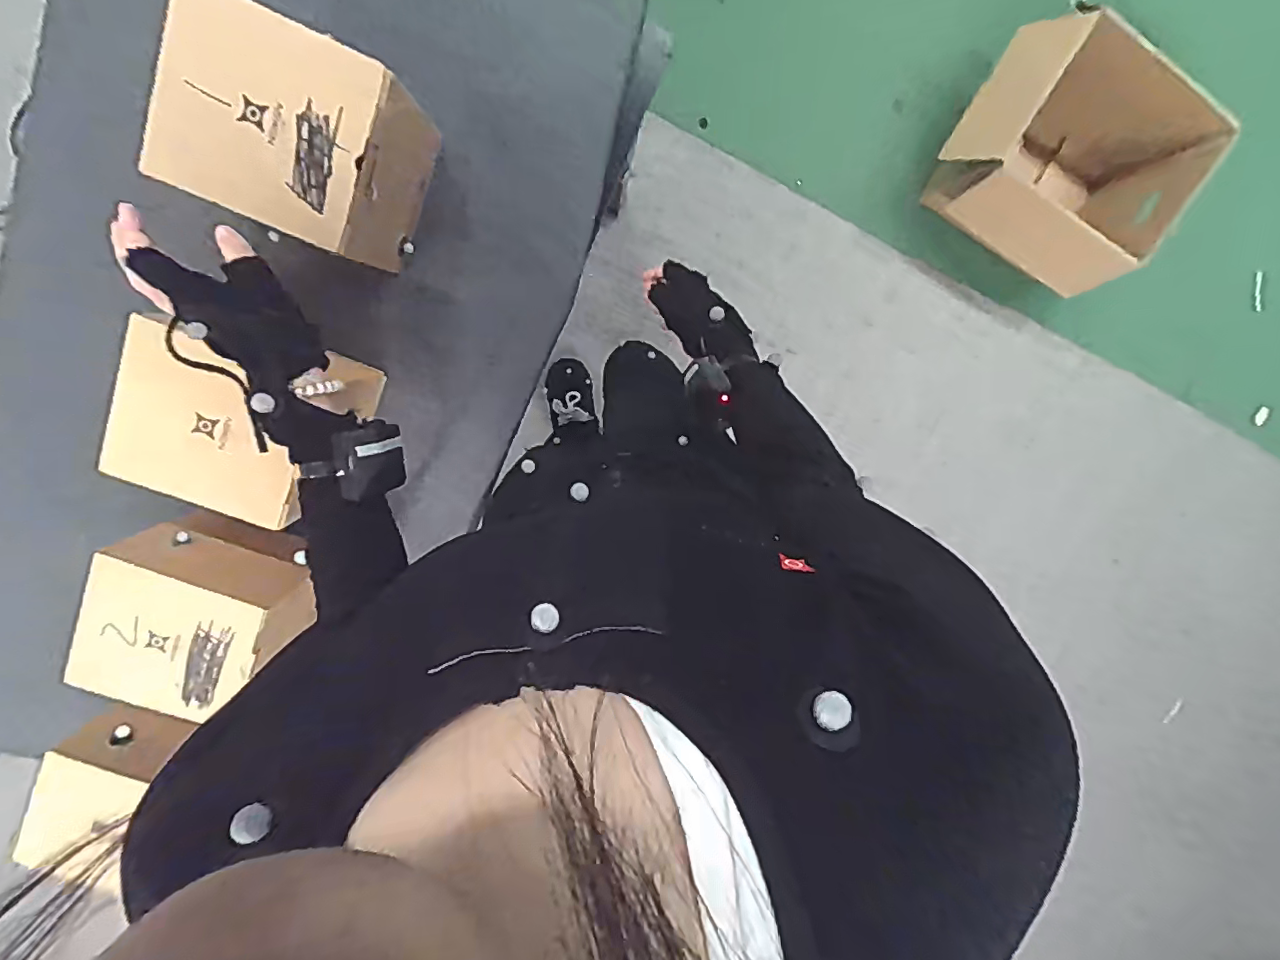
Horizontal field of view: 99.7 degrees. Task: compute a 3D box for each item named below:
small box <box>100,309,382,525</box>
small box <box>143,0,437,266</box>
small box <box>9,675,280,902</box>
[{"bbox_3d":[-0.426,-0.074,0.607,0.179,0.176,0.168,21,102,-11],"label":"small box"},{"bbox_3d":[-0.328,-0.332,0.544,0.179,0.176,0.168,22,102,-9],"label":"small box"},{"bbox_3d":[-0.624,0.385,0.704,0.179,0.176,0.168,26,101,-9],"label":"small box"}]
